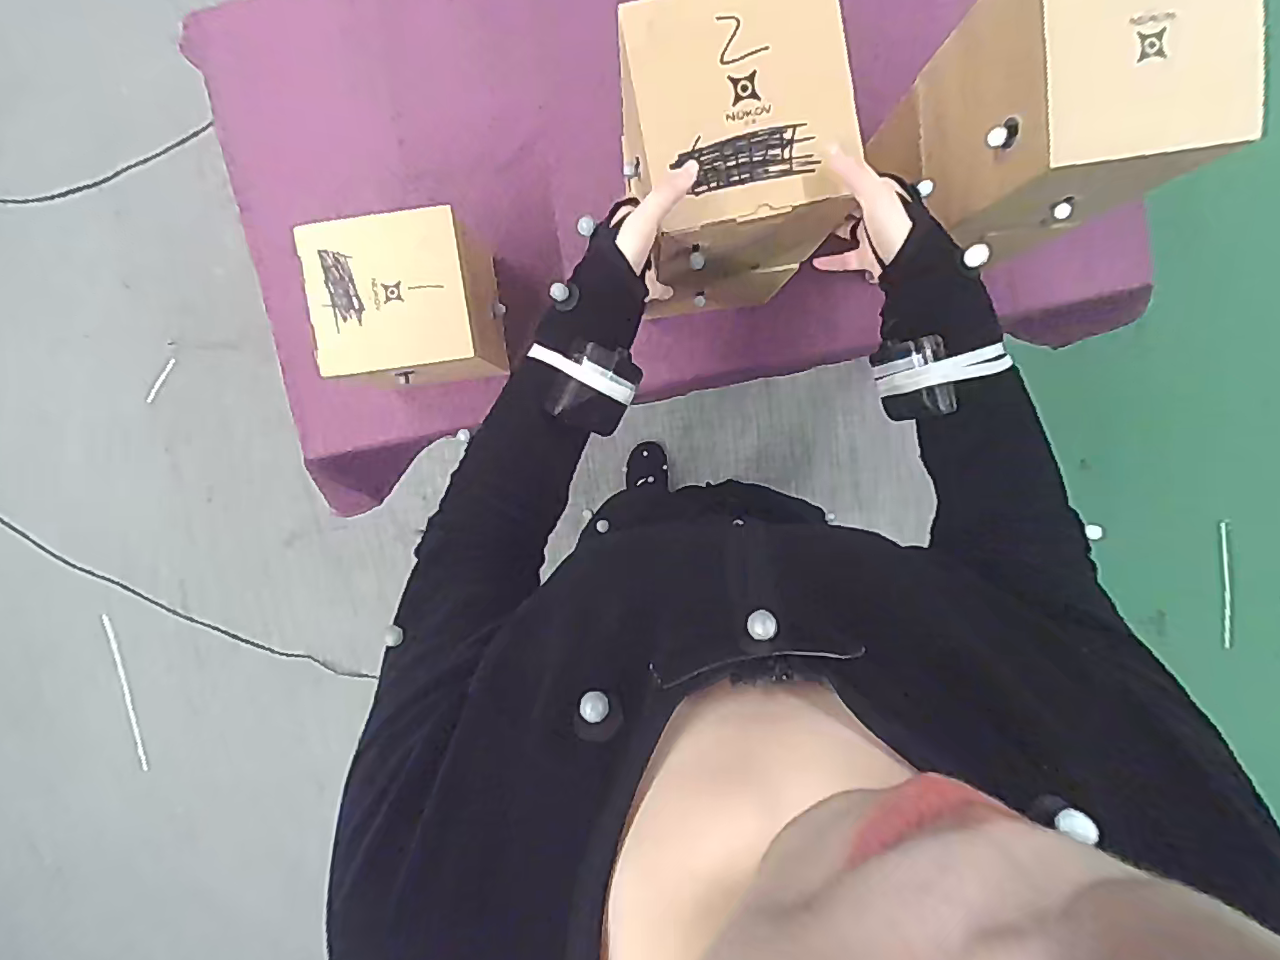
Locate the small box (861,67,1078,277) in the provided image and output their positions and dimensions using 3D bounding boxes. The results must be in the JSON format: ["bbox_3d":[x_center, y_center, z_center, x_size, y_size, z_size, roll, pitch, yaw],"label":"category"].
[{"bbox_3d":[0.383,-0.365,0.657,0.168,0.176,0.179,-6,96,1],"label":"small box"}]

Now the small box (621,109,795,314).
[{"bbox_3d":[0.077,-0.311,0.663,0.179,0.176,0.168,-7,95,2],"label":"small box"}]

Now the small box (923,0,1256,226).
[{"bbox_3d":[0.384,-0.350,0.492,0.168,0.176,0.179,-7,95,1],"label":"small box"}]

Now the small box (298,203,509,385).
[{"bbox_3d":[-0.277,-0.216,0.672,0.179,0.176,0.168,-8,95,0],"label":"small box"}]
